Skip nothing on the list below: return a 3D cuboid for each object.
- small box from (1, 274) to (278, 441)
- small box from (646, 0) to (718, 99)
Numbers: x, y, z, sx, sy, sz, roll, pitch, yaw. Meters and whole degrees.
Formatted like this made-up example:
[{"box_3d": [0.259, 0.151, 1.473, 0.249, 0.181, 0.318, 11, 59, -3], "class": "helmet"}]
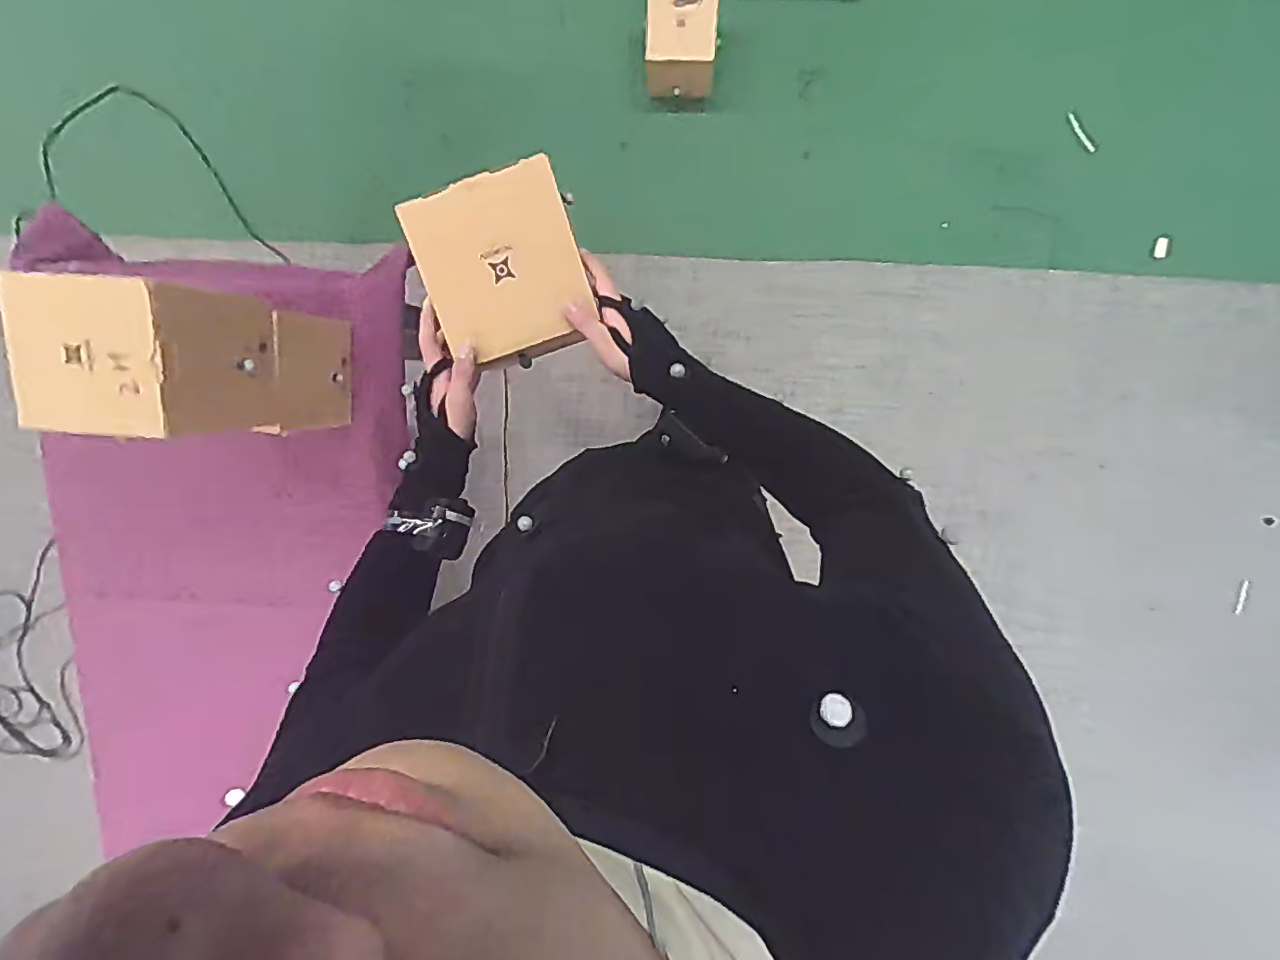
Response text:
[{"box_3d": [-0.580, -0.143, 0.651, 0.179, 0.176, 0.168, 4, 101, 3], "class": "small box"}, {"box_3d": [0.104, -1.094, 1.351, 0.168, 0.176, 0.179, 3, 101, 4], "class": "small box"}]
